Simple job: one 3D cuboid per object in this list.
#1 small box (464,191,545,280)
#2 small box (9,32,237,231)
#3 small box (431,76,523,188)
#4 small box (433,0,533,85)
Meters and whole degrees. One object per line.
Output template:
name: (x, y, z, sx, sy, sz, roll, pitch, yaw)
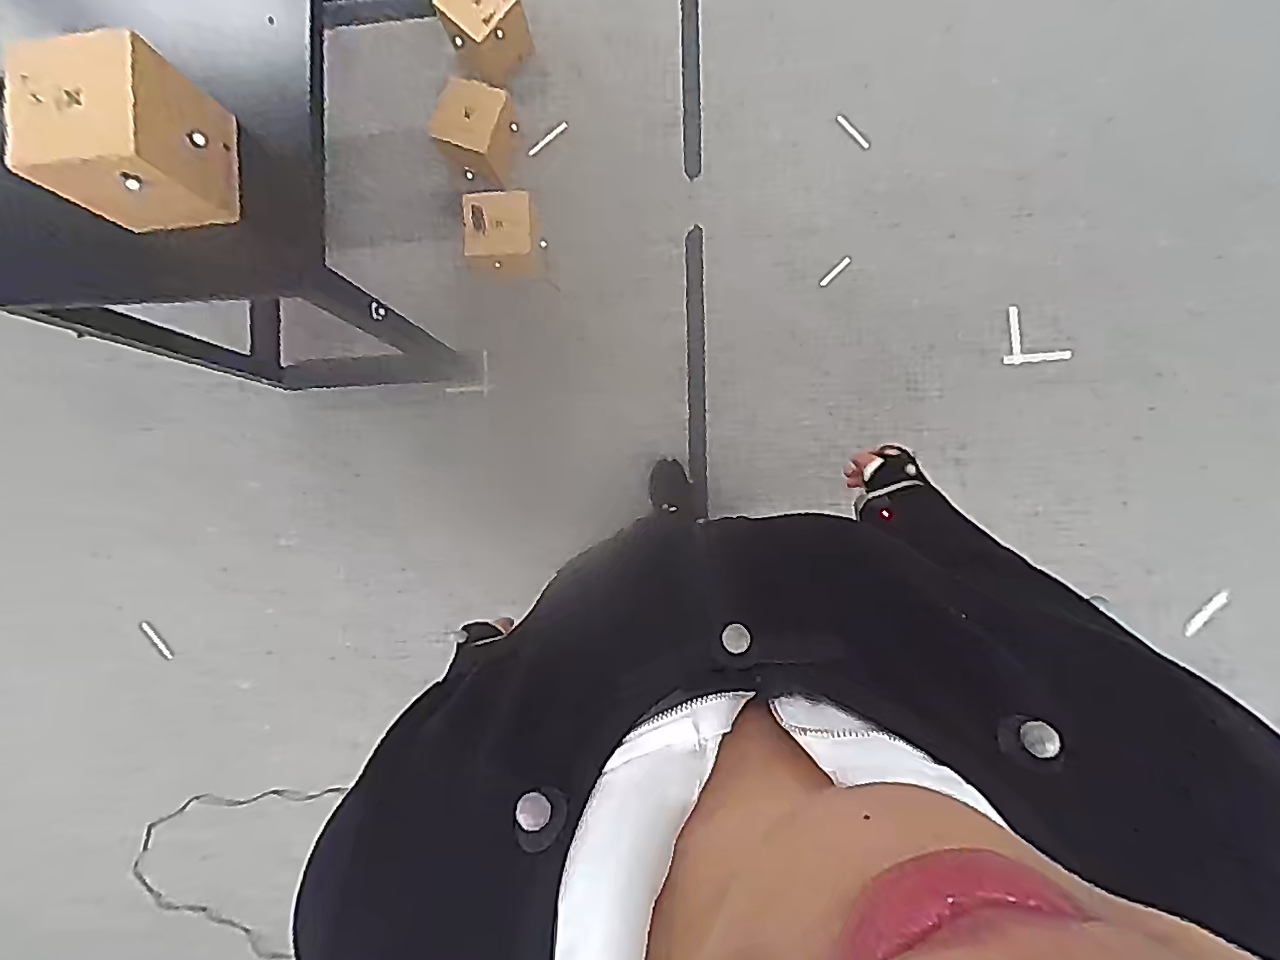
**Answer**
small box: (-0.365, -0.659, 1.476, 0.179, 0.176, 0.168, -3, 89, 2)
small box: (-0.709, -0.475, 0.762, 0.179, 0.176, 0.168, -4, 88, 4)
small box: (-0.439, -0.951, 1.490, 0.168, 0.176, 0.179, 19, 91, 5)
small box: (-0.425, -1.253, 1.494, 0.179, 0.176, 0.168, 42, 92, 4)
